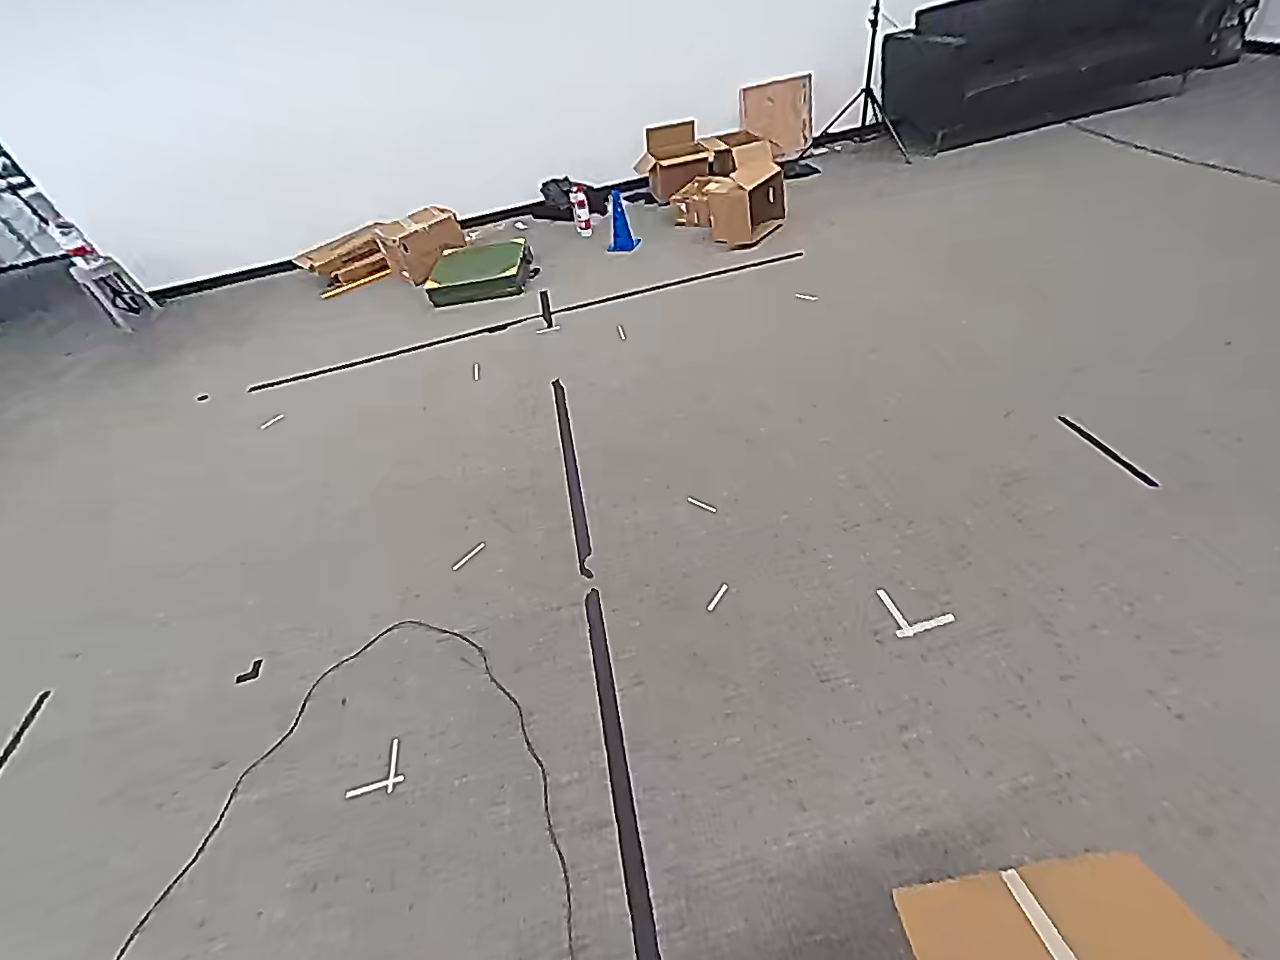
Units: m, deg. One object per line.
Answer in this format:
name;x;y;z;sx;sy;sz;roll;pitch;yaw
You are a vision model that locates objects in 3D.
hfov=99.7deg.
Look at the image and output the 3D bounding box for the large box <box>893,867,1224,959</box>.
large box;0.508;0.698;0.534;0.320;0.320;0.408;-18;1;9
